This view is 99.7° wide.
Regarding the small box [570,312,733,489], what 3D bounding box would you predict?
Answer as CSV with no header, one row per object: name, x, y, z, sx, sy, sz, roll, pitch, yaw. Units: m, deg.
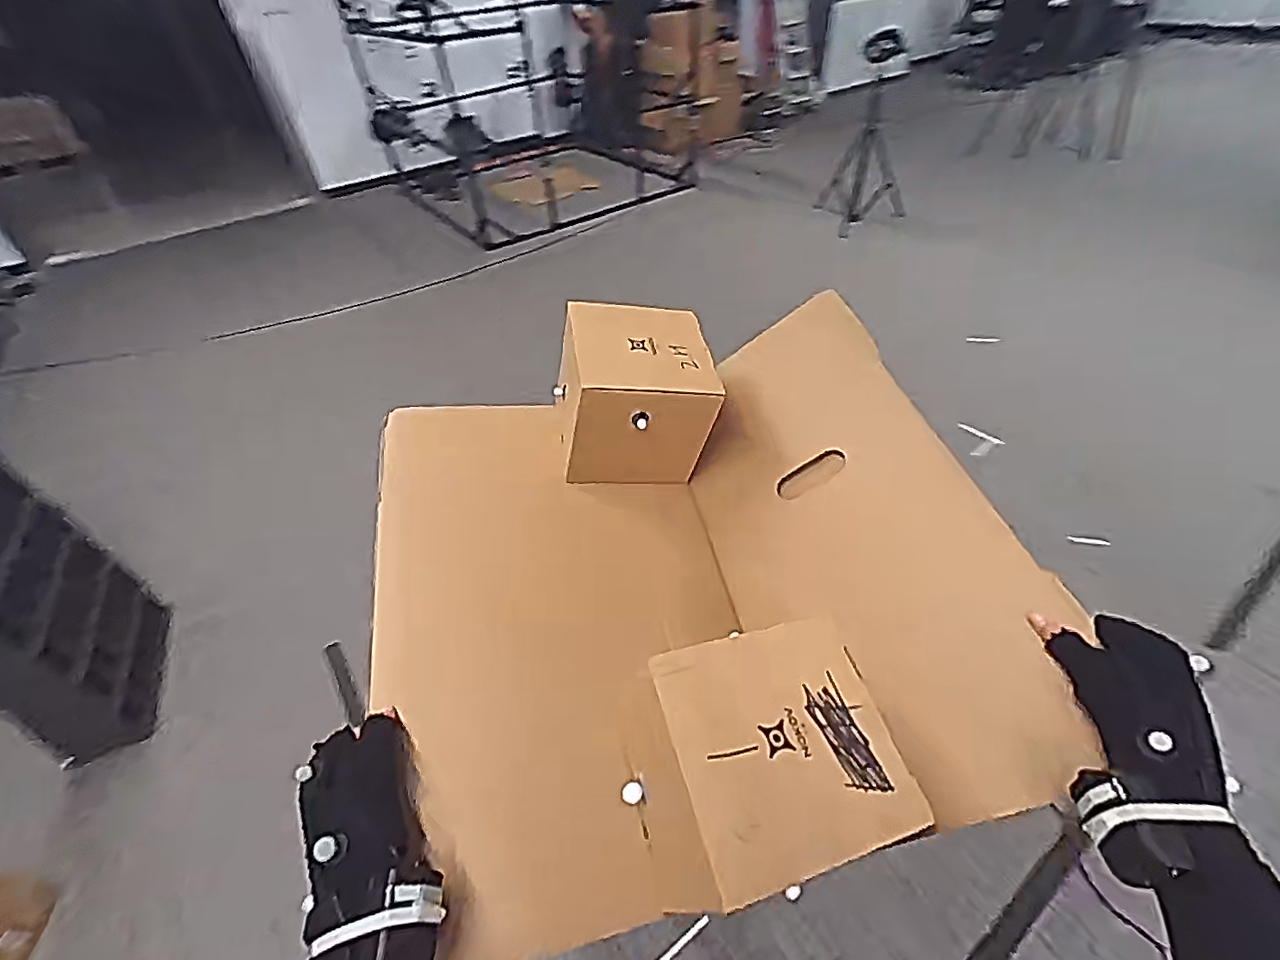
small box,0.001,-0.100,0.726,0.179,0.176,0.168,2,51,-15
